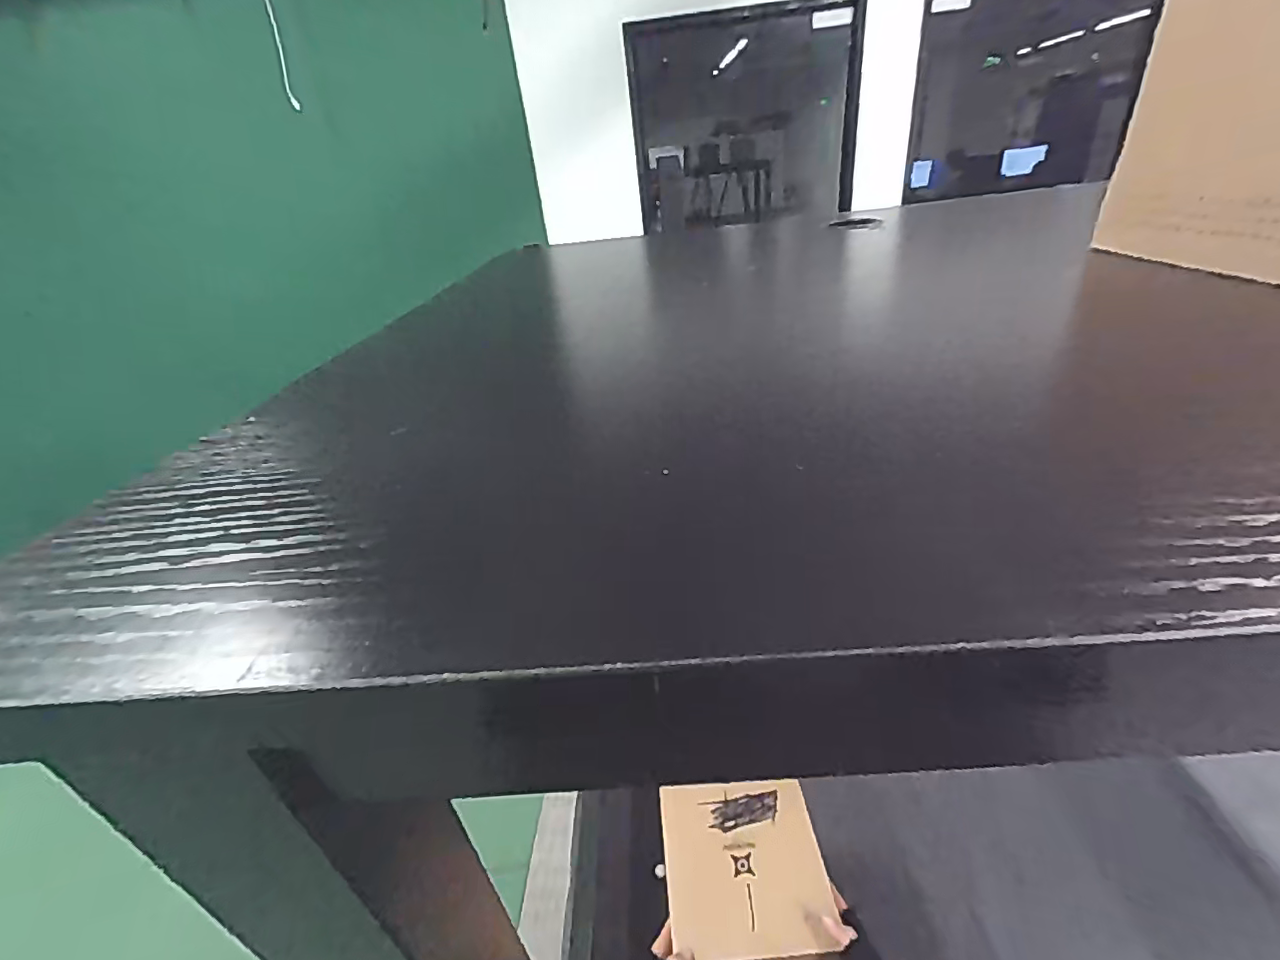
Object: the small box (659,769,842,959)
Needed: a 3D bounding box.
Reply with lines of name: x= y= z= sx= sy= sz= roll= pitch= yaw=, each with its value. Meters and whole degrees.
small box: x=0.111 y=0.463 z=0.610 sx=0.168 sy=0.176 sz=0.179 roll=-6 pitch=30 yaw=1
